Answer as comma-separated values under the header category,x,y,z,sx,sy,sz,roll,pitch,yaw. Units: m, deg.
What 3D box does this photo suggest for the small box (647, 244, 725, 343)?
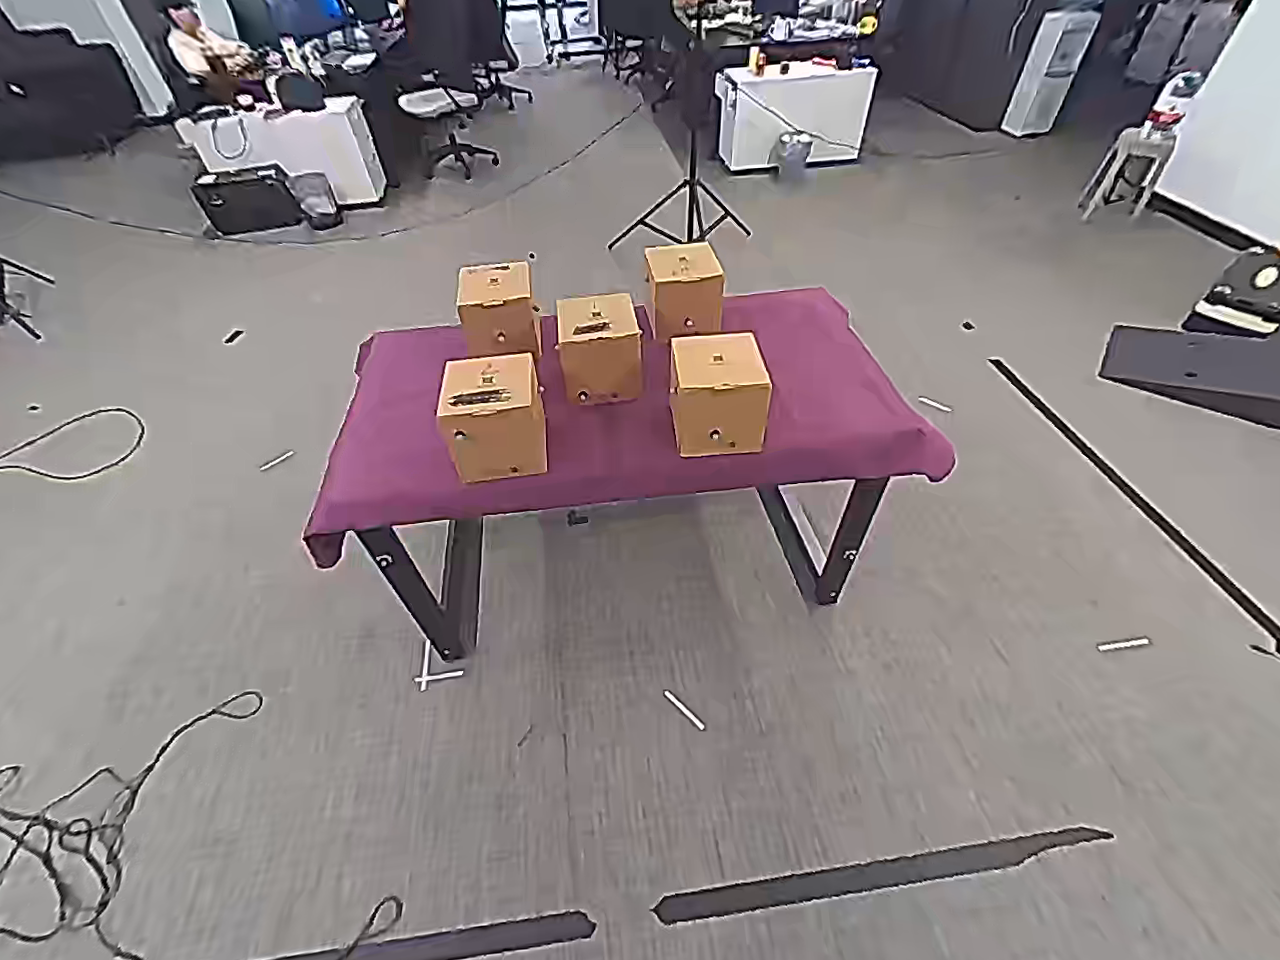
category,x,y,z,sx,sy,sz,roll,pitch,yaw
small box,0.109,-0.467,1.358,0.168,0.176,0.179,-8,49,-3

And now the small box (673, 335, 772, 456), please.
category,x,y,z,sx,sy,sz,roll,pitch,yaw
small box,0.154,-0.168,1.082,0.168,0.176,0.179,-4,46,-1

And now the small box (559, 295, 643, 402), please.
category,x,y,z,sx,sy,sz,roll,pitch,yaw
small box,-0.086,-0.286,1.205,0.168,0.176,0.179,-7,47,-4

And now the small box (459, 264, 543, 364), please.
category,x,y,z,sx,sy,sz,roll,pitch,yaw
small box,-0.333,-0.398,1.318,0.168,0.176,0.179,-7,50,-5
